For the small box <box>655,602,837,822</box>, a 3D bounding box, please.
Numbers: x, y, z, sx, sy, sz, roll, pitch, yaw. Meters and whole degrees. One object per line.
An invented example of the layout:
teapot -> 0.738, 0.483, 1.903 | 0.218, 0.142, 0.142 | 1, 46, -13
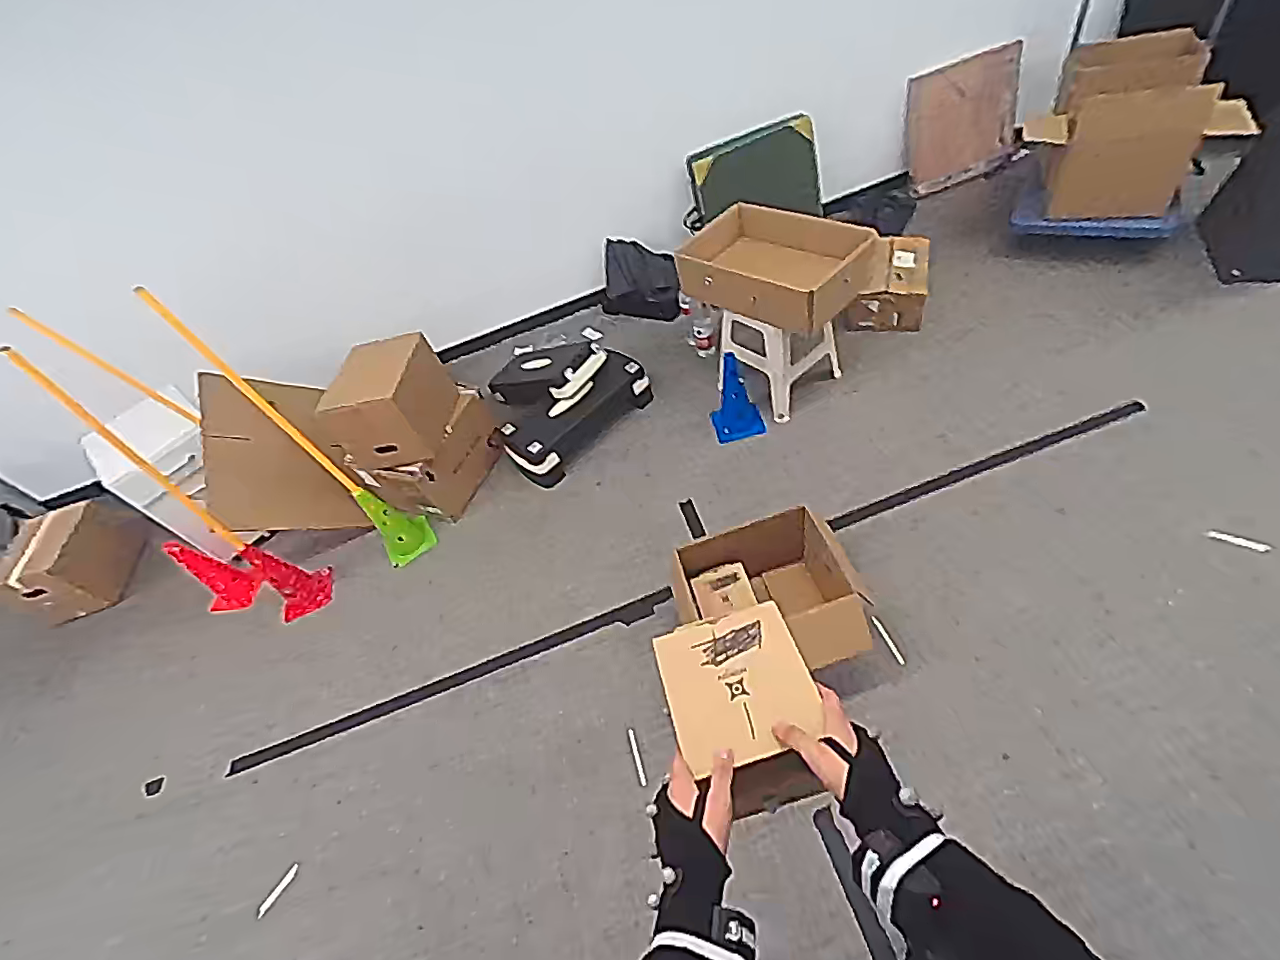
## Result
small box -> 0.129, 0.290, 0.679 | 0.168, 0.176, 0.179 | -19, 42, 0
